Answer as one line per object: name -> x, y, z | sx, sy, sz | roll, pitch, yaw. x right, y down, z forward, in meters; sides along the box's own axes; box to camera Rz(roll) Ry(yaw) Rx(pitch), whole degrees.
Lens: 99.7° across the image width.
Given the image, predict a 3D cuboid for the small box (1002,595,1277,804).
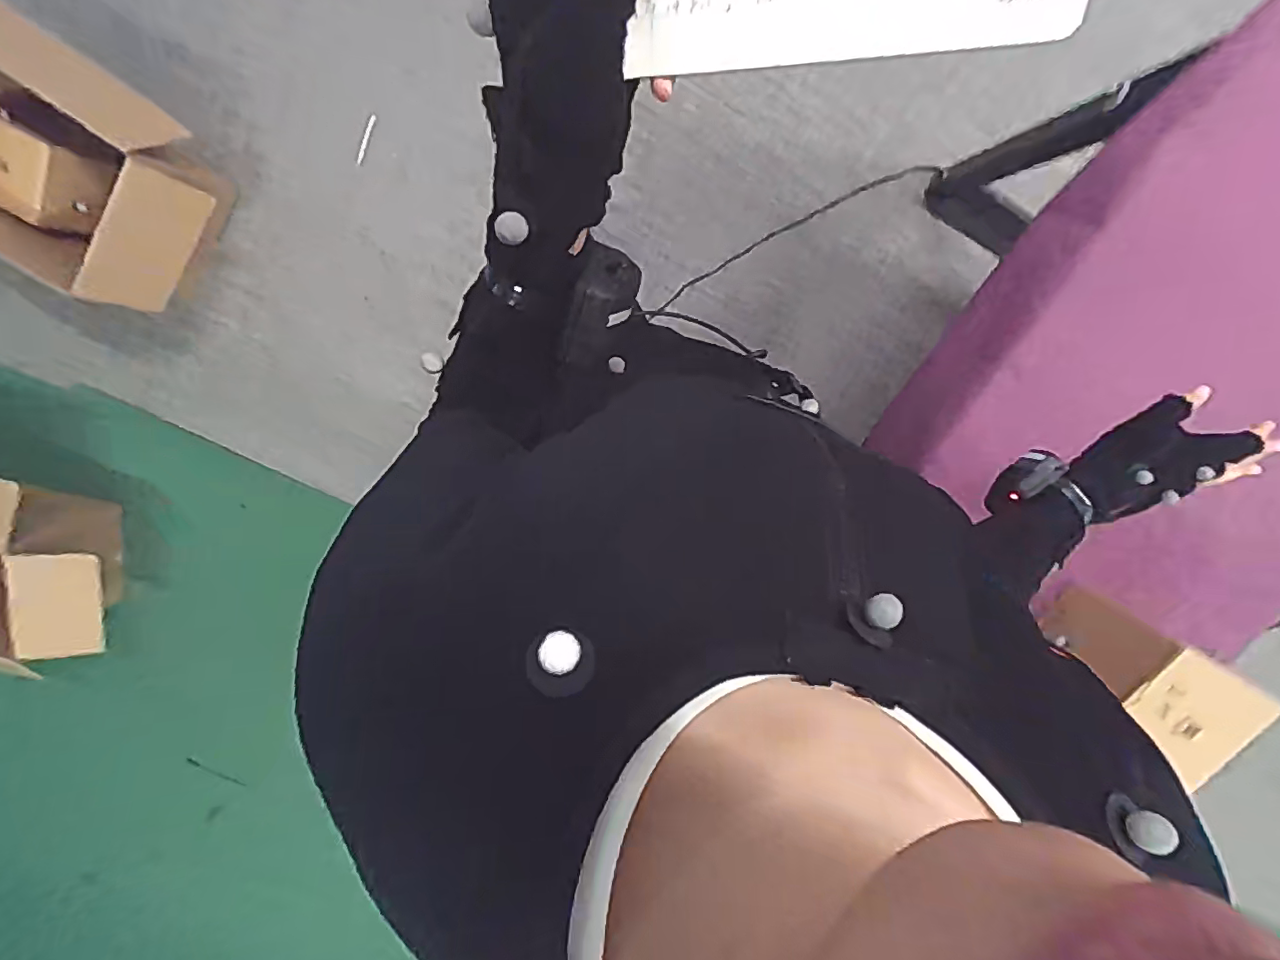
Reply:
small box -> 0.658, 0.287, 0.738 | 0.179, 0.176, 0.168 | 29, 104, -9
